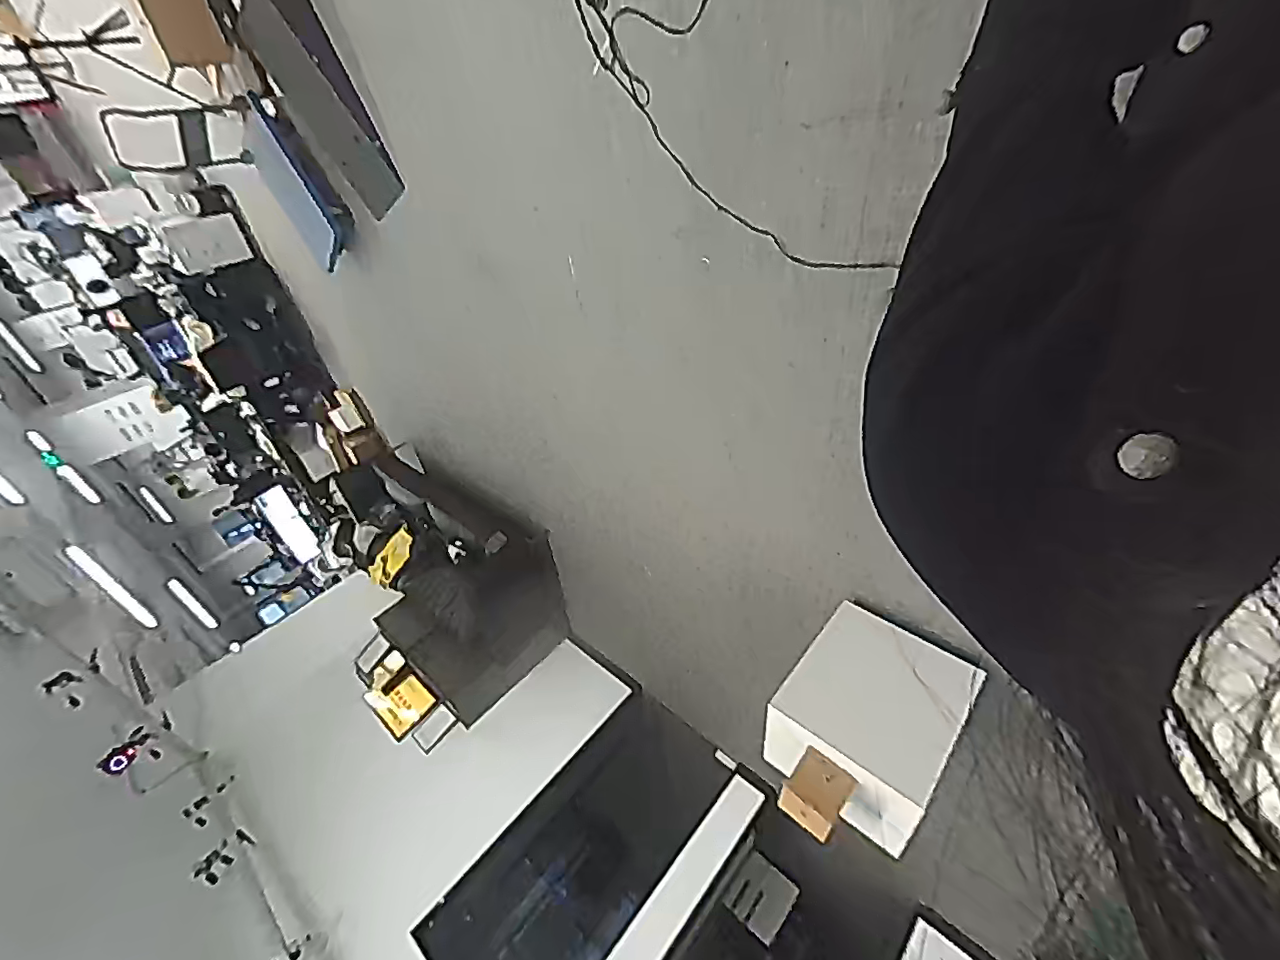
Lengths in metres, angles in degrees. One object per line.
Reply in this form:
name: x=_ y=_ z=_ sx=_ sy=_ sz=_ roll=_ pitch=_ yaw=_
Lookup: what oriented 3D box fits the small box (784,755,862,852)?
small box: x=0.576 y=1.014 z=1.704 sx=0.168 sy=0.176 sz=0.179 roll=28 pitch=140 yaw=33
